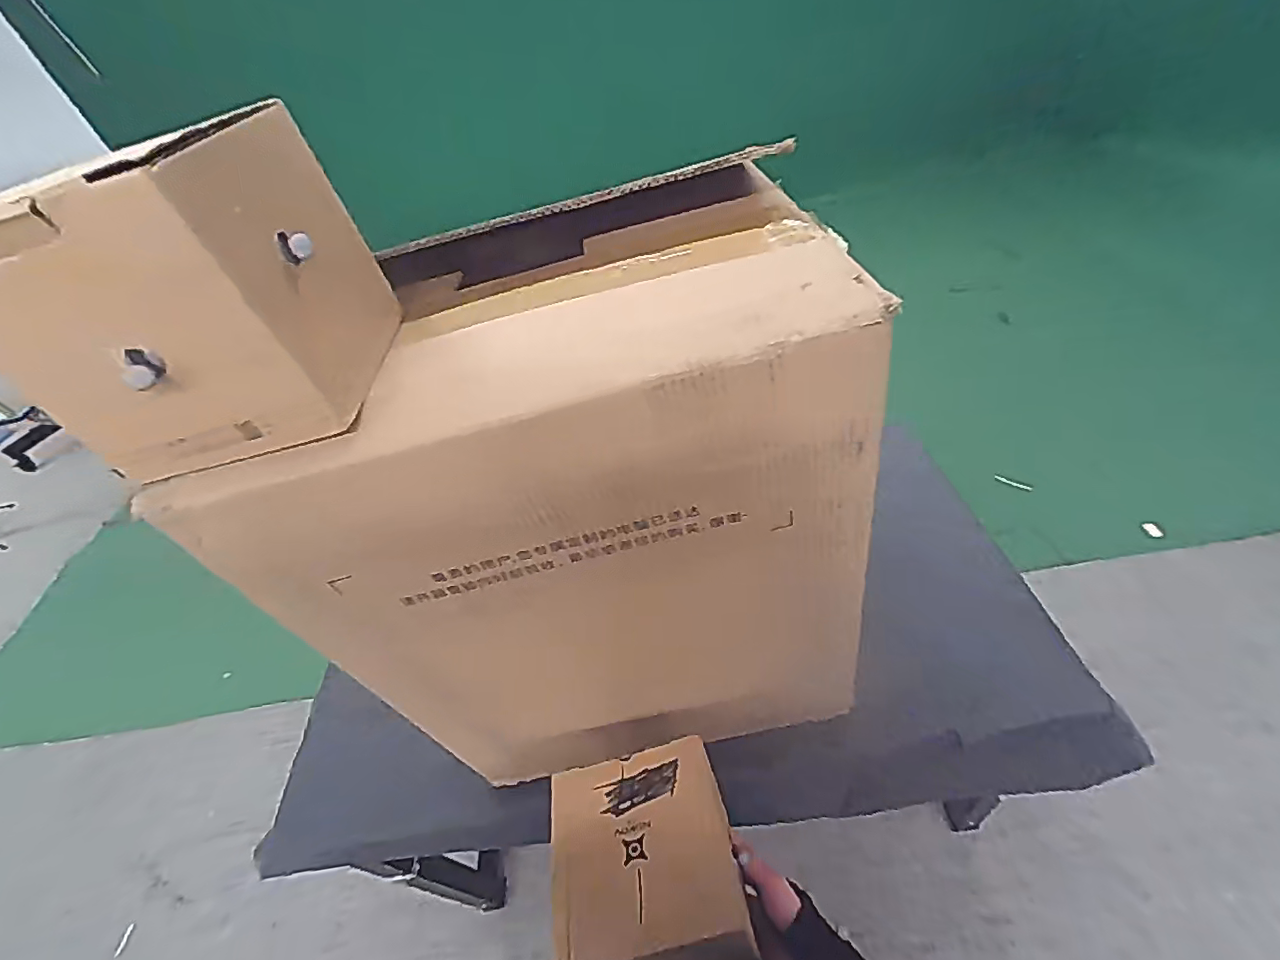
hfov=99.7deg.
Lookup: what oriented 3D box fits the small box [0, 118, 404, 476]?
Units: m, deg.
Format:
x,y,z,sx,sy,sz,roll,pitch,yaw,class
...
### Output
x,y,z,sx,sy,sz,roll,pitch,yaw,class
-0.295,-0.120,0.383,0.168,0.176,0.179,-14,44,5,small box
